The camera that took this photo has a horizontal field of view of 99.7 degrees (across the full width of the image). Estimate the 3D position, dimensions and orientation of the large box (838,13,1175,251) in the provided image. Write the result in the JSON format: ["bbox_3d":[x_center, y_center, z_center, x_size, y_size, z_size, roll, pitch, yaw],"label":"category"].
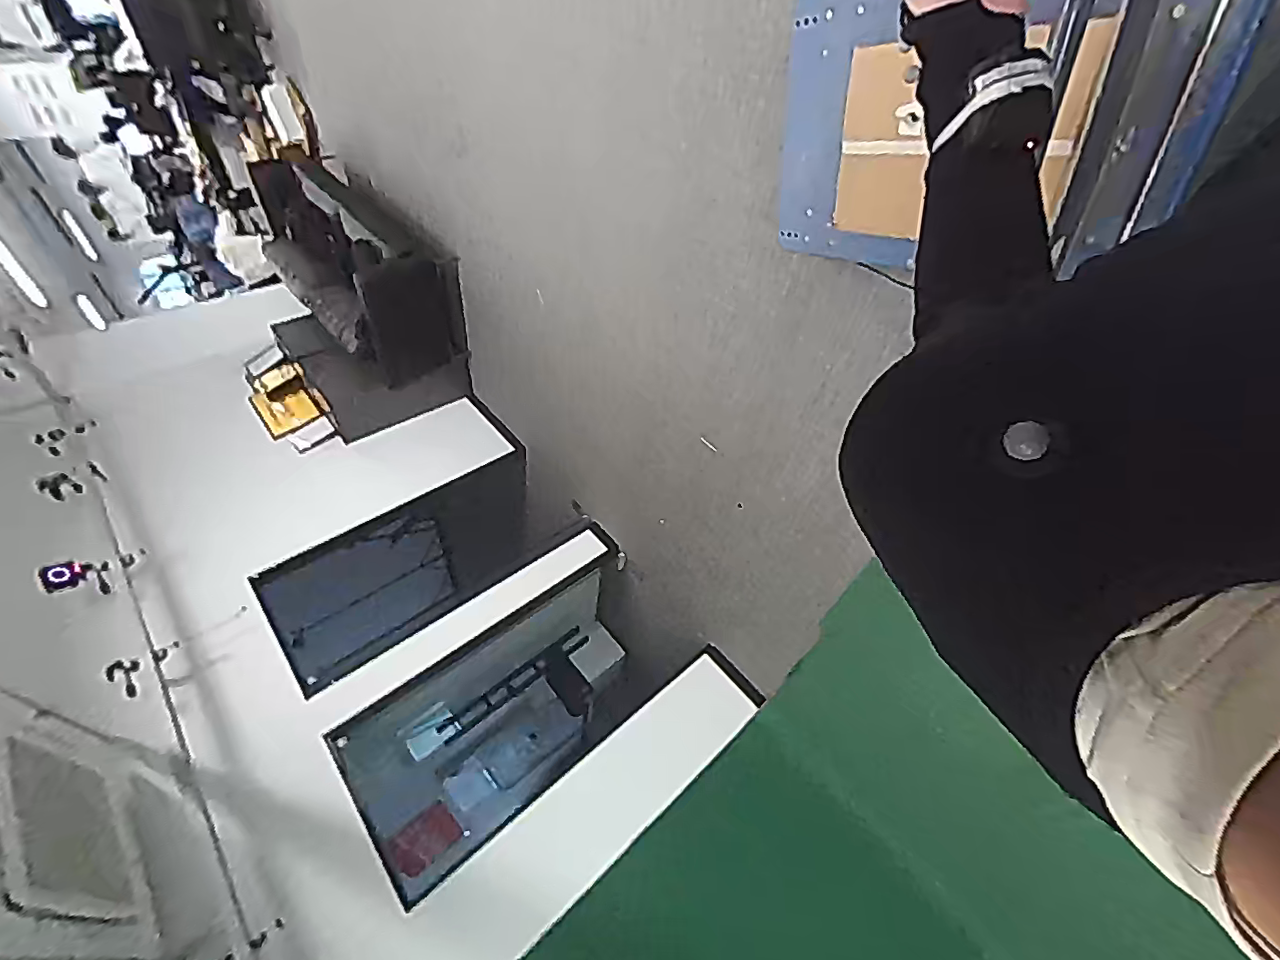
[{"bbox_3d":[0.653,-0.649,1.022,0.408,0.320,0.320,32,139,41],"label":"large box"}]
